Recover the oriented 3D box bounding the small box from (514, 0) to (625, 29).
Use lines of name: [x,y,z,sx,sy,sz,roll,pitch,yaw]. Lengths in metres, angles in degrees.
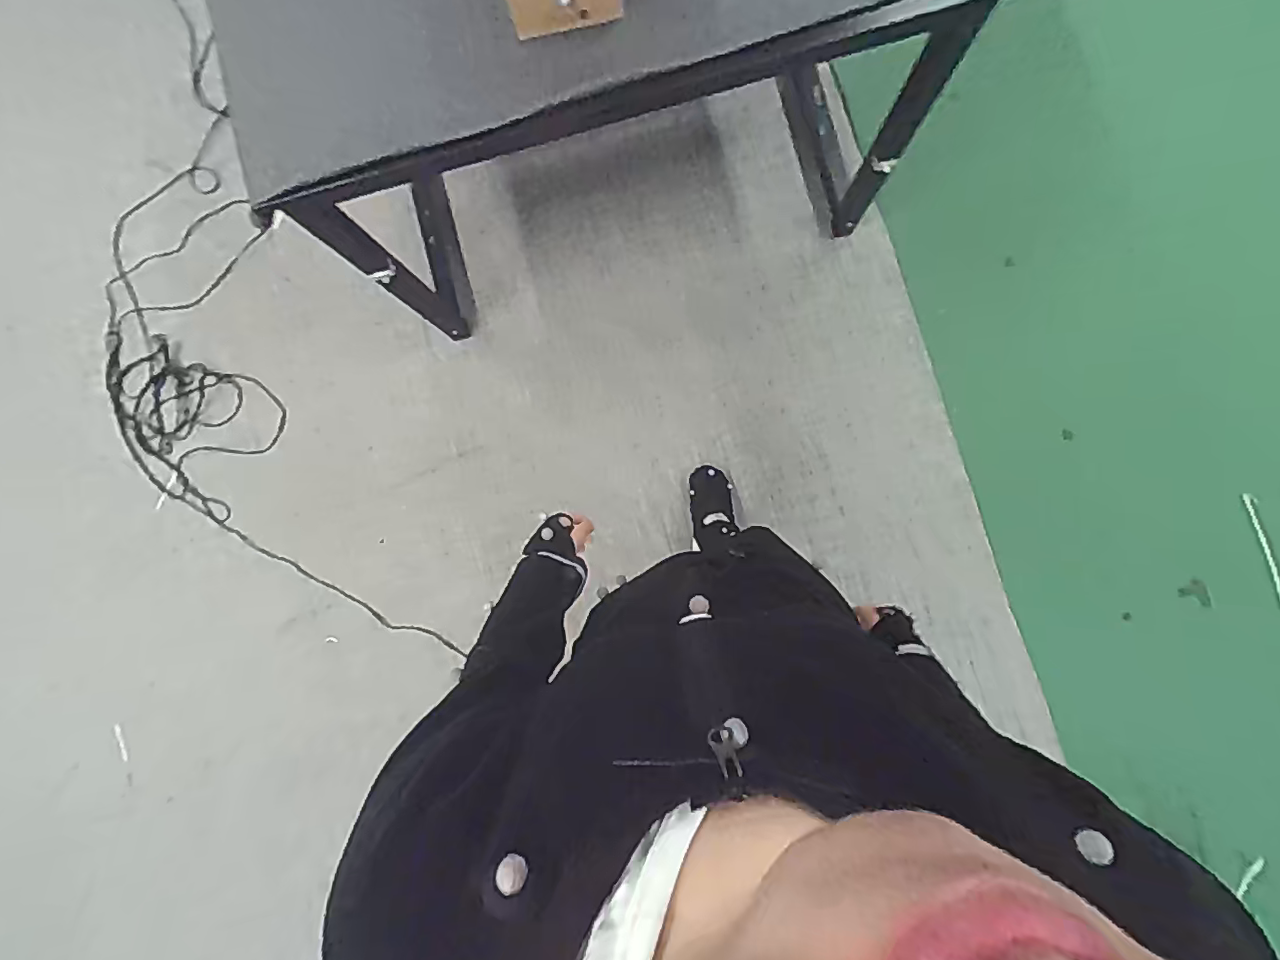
small box: [-0.118,-0.778,0.737,0.168,0.176,0.179,-9,85,4]
